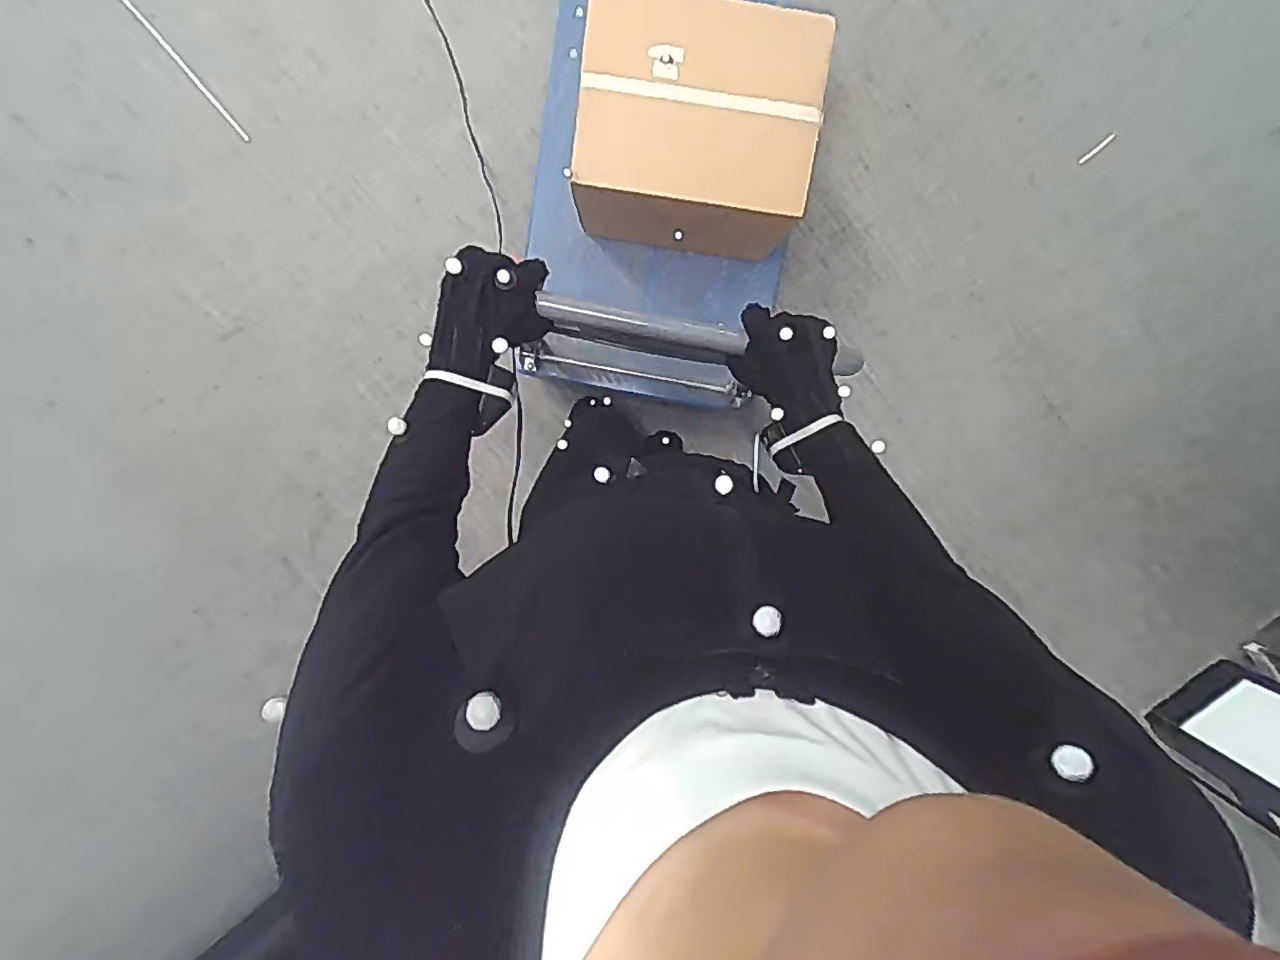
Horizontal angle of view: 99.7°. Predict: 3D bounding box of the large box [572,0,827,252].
[{"bbox_3d":[0.097,-0.658,1.054,0.408,0.320,0.320,7,98,-1],"label":"large box"}]
